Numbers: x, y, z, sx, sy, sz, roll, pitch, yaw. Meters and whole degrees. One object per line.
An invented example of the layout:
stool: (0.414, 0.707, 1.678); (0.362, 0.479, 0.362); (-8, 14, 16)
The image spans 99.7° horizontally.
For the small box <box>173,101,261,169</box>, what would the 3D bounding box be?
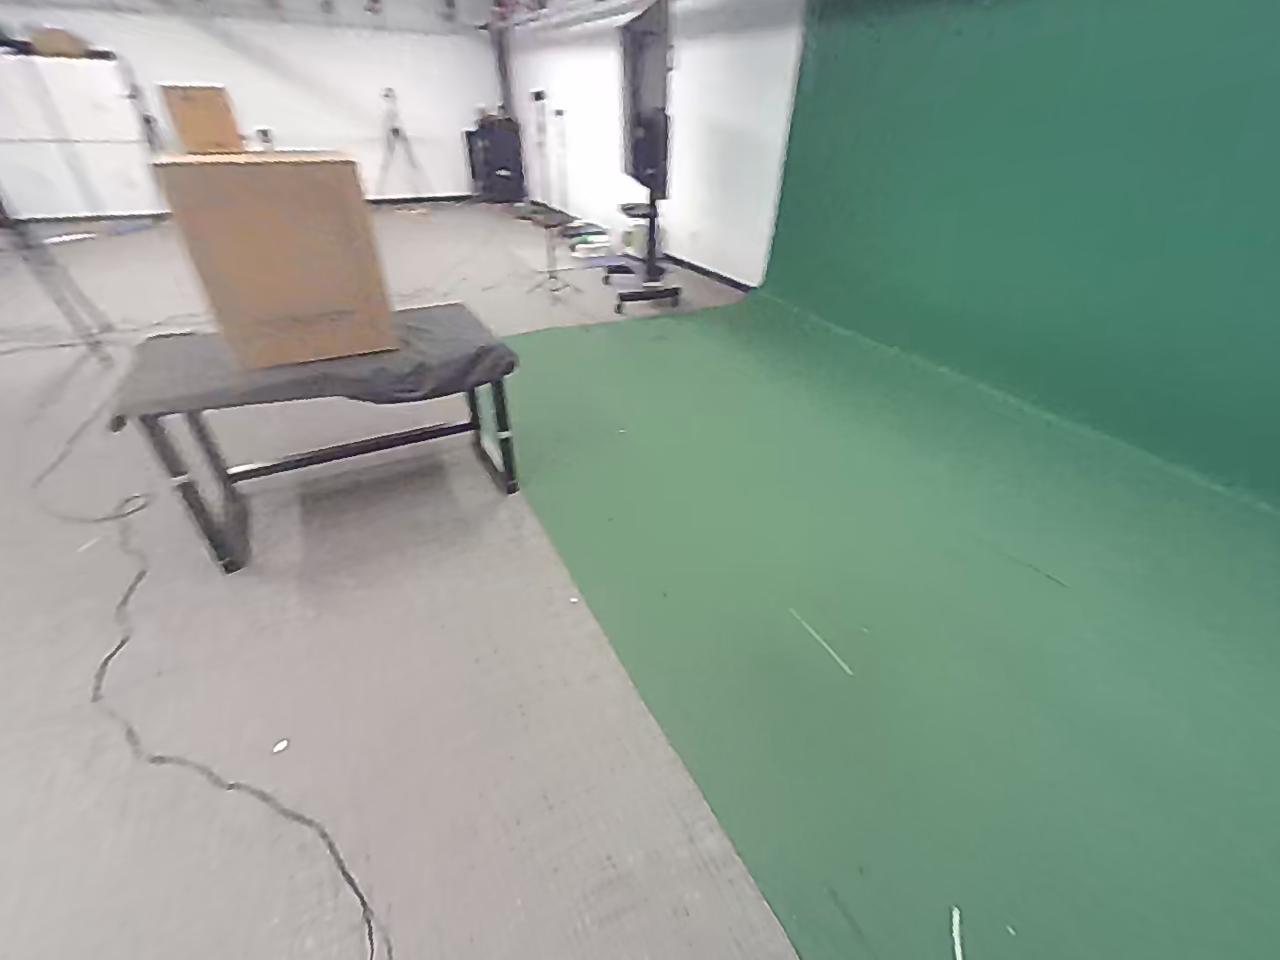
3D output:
small box: (-1.304, -1.069, 1.681); (0.168, 0.176, 0.179); (-16, 36, -23)
